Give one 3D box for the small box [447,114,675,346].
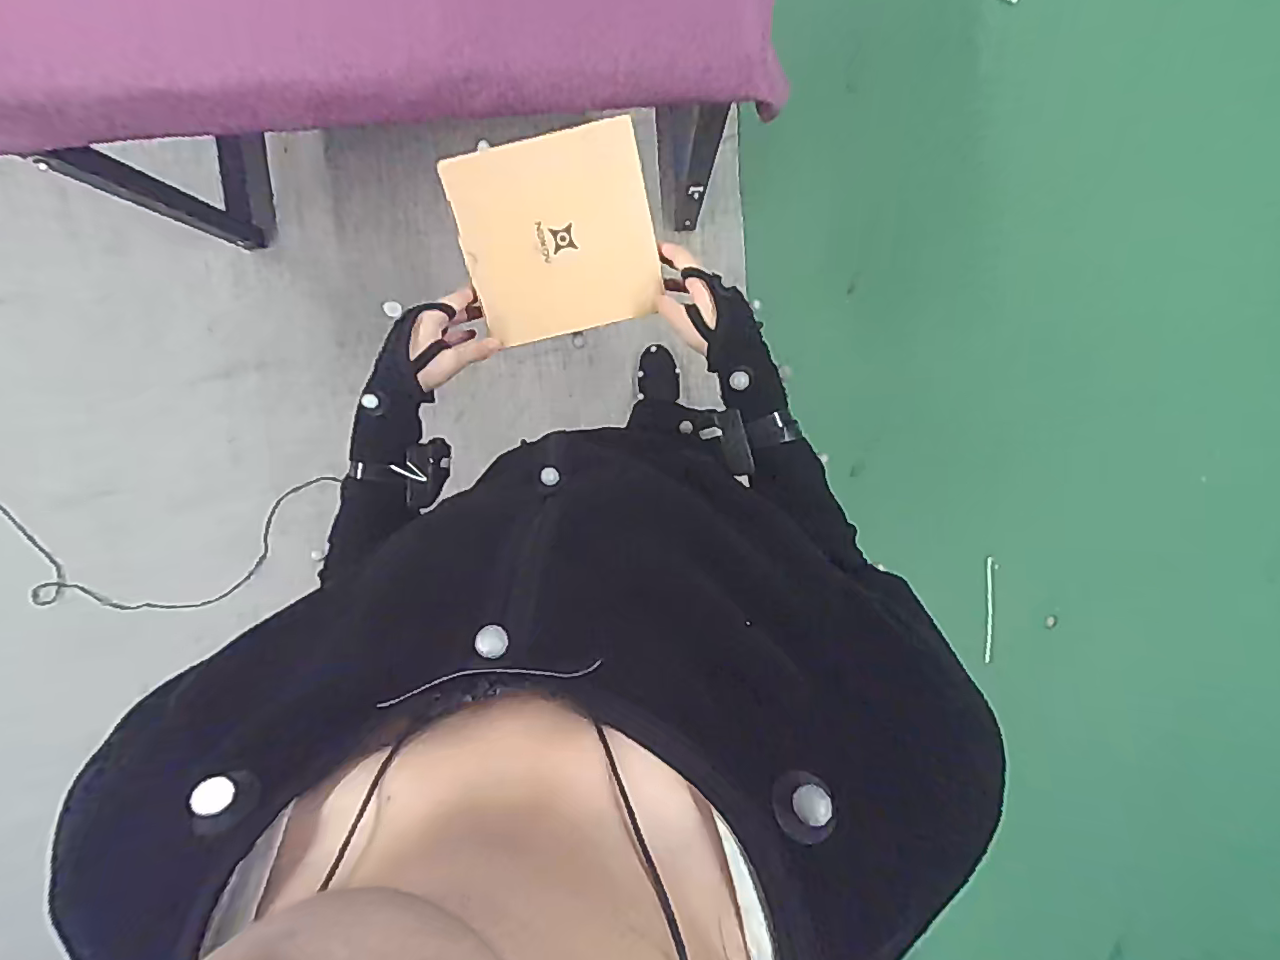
[{"bbox_3d":[-0.069,-0.249,0.568,0.179,0.176,0.168,-13,109,5],"label":"small box"}]
